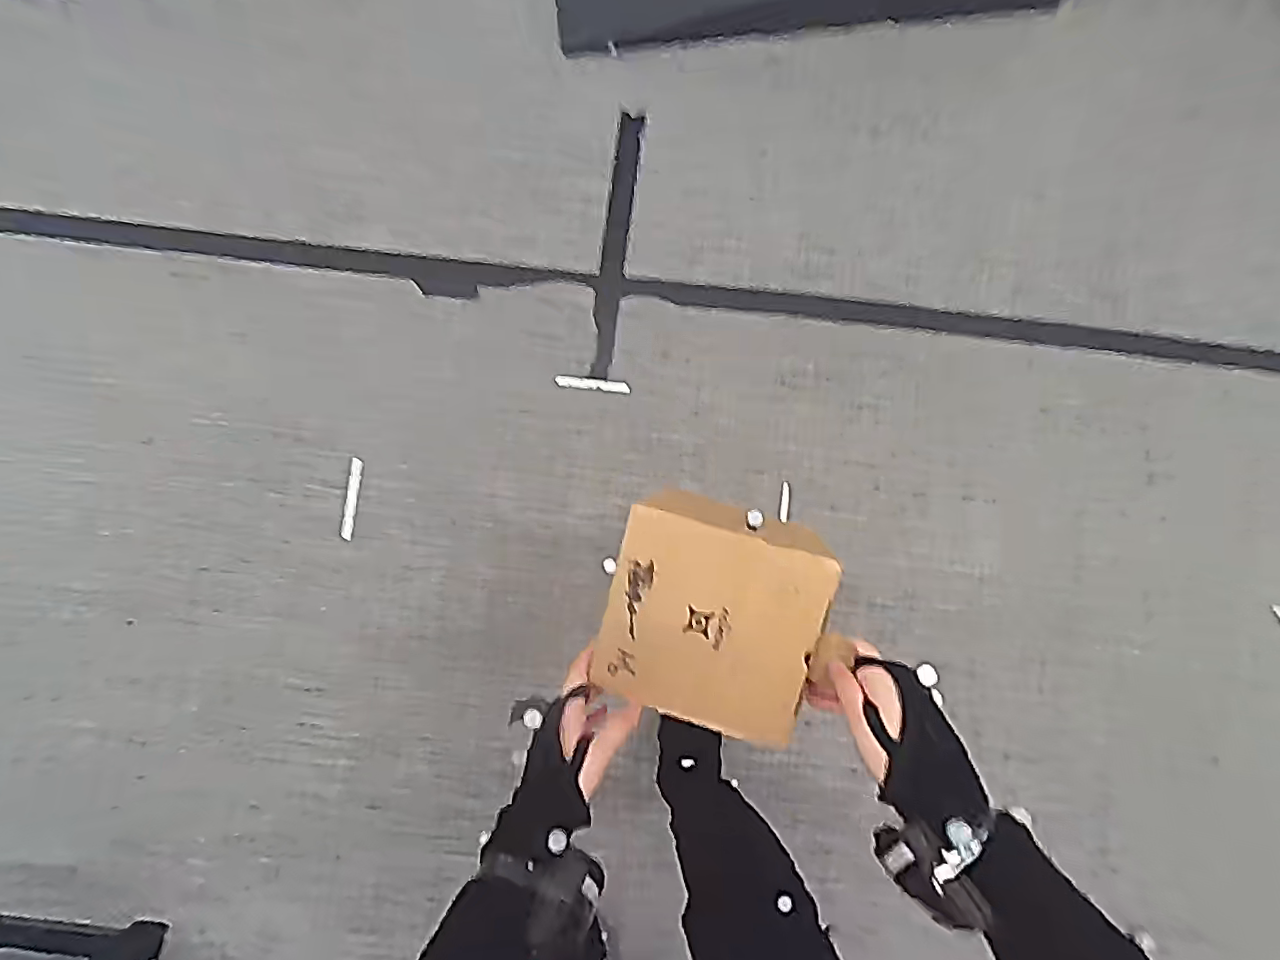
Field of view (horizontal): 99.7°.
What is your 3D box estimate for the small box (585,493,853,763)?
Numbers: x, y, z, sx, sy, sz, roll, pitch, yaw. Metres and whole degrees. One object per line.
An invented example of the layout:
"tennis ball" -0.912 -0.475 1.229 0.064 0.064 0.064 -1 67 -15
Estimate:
"small box" 0.070 0.116 0.503 0.179 0.176 0.168 16 97 8
